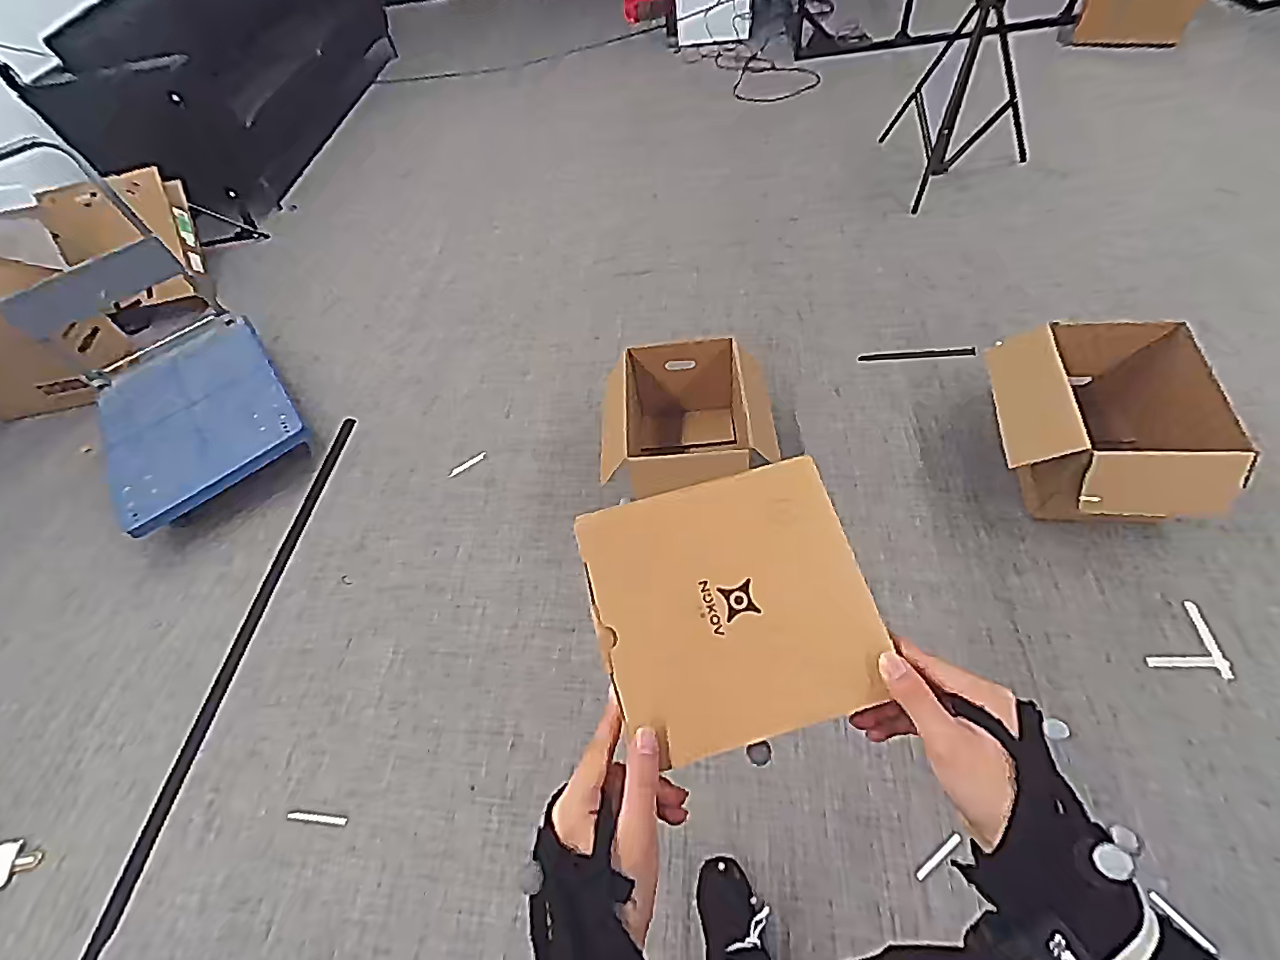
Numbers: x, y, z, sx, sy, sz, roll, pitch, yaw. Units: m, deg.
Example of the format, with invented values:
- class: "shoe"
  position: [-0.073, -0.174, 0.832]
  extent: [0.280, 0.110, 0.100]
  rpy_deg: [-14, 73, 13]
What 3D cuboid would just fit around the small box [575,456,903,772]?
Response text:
- class: "small box"
  position: [0.060, 0.104, 0.424]
  extent: [0.179, 0.176, 0.168]
  rpy_deg: [-16, 69, -3]
